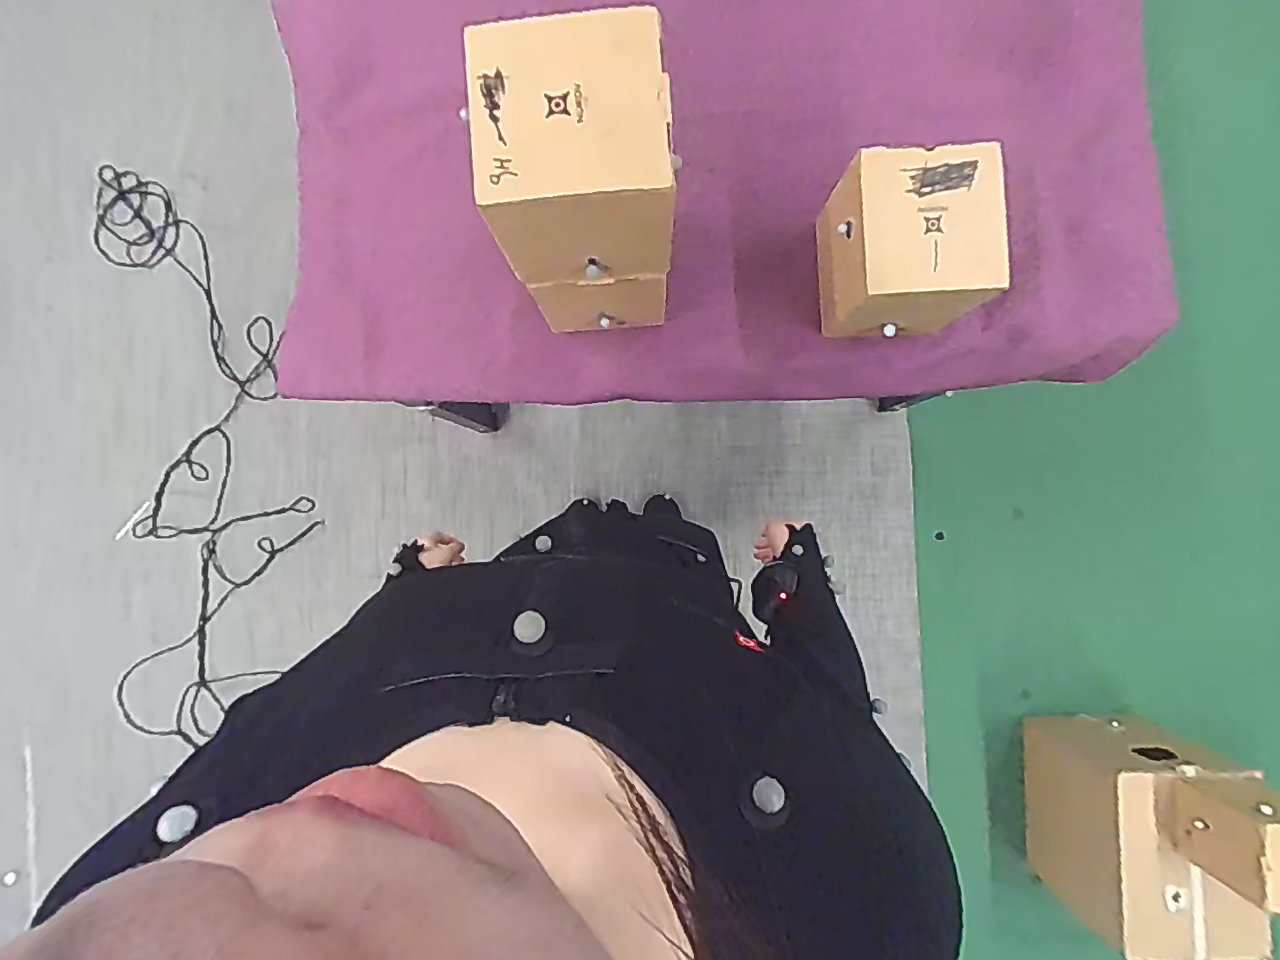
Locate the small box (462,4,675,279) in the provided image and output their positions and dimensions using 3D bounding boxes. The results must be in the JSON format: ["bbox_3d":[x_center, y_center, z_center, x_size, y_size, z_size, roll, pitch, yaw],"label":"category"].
[{"bbox_3d":[-0.062,-0.318,0.540,0.179,0.176,0.168,-4,86,1],"label":"small box"}]

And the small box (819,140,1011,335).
[{"bbox_3d":[0.338,-0.299,0.697,0.168,0.176,0.179,-2,88,1],"label":"small box"}]

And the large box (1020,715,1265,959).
[{"bbox_3d":[1.181,0.831,1.309,0.320,0.320,0.408,-1,89,2],"label":"large box"}]

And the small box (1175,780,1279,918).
[{"bbox_3d":[1.226,0.718,1.067,0.179,0.176,0.168,-1,89,1],"label":"small box"}]

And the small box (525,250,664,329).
[{"bbox_3d":[-0.057,-0.312,0.704,0.168,0.176,0.179,-4,87,2],"label":"small box"}]
